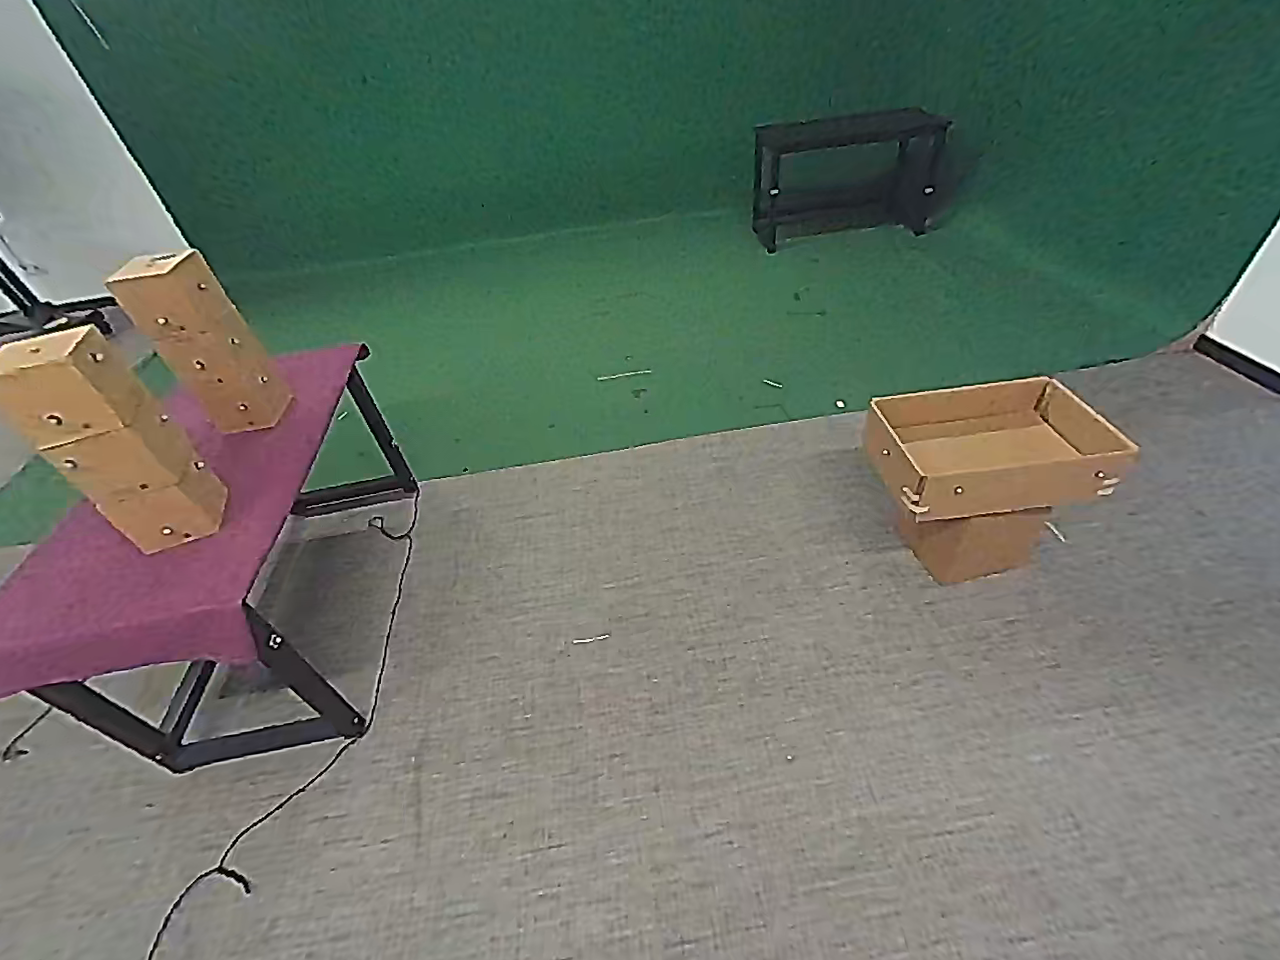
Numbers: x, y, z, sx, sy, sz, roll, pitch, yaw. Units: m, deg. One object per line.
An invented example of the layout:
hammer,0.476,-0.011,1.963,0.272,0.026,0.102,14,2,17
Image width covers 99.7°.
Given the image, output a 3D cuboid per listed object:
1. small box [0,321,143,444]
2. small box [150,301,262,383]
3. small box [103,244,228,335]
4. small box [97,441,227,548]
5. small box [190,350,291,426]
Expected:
small box,-1.201,-0.204,1.131,0.168,0.176,0.179,-20,44,-14
small box,-1.258,-0.399,1.586,0.168,0.176,0.179,-9,44,-3
small box,-1.275,-0.518,1.473,0.168,0.176,0.179,-10,44,-3
small box,-1.177,0.037,1.350,0.168,0.176,0.179,-20,45,-12
small box,-1.240,-0.281,1.698,0.168,0.176,0.179,-8,43,-1
